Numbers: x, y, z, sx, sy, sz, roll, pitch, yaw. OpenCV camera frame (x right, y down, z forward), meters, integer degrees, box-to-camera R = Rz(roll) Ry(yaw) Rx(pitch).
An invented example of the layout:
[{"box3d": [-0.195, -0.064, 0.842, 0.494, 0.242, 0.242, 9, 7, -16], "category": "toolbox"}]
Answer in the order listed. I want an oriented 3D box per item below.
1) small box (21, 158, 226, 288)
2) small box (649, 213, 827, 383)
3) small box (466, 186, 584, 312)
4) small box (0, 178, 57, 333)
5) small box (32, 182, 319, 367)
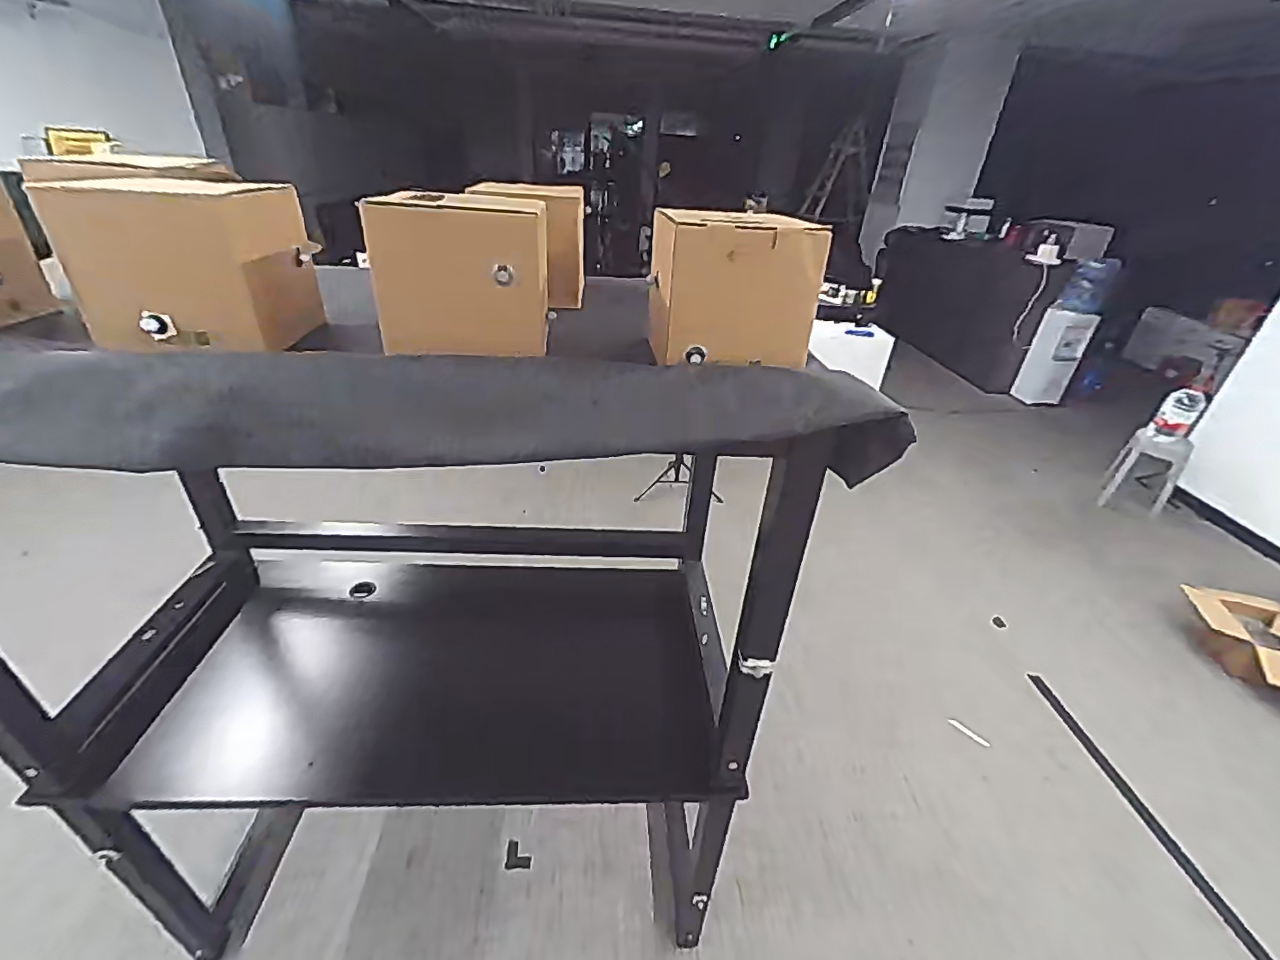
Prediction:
[{"box3d": [-0.754, -0.391, 0.838, 0.179, 0.176, 0.168, 1, 32, -7], "category": "small box"}, {"box3d": [0.103, -0.223, 0.658, 0.168, 0.176, 0.179, 0, 30, -6], "category": "small box"}, {"box3d": [-0.179, -0.383, 0.895, 0.168, 0.176, 0.179, 1, 31, -5], "category": "small box"}, {"box3d": [-0.823, -0.245, 0.585, 0.179, 0.176, 0.168, 0, 30, -8], "category": "small box"}, {"box3d": [-0.492, -0.236, 0.614, 0.168, 0.176, 0.179, -2, 30, -8], "category": "small box"}]
